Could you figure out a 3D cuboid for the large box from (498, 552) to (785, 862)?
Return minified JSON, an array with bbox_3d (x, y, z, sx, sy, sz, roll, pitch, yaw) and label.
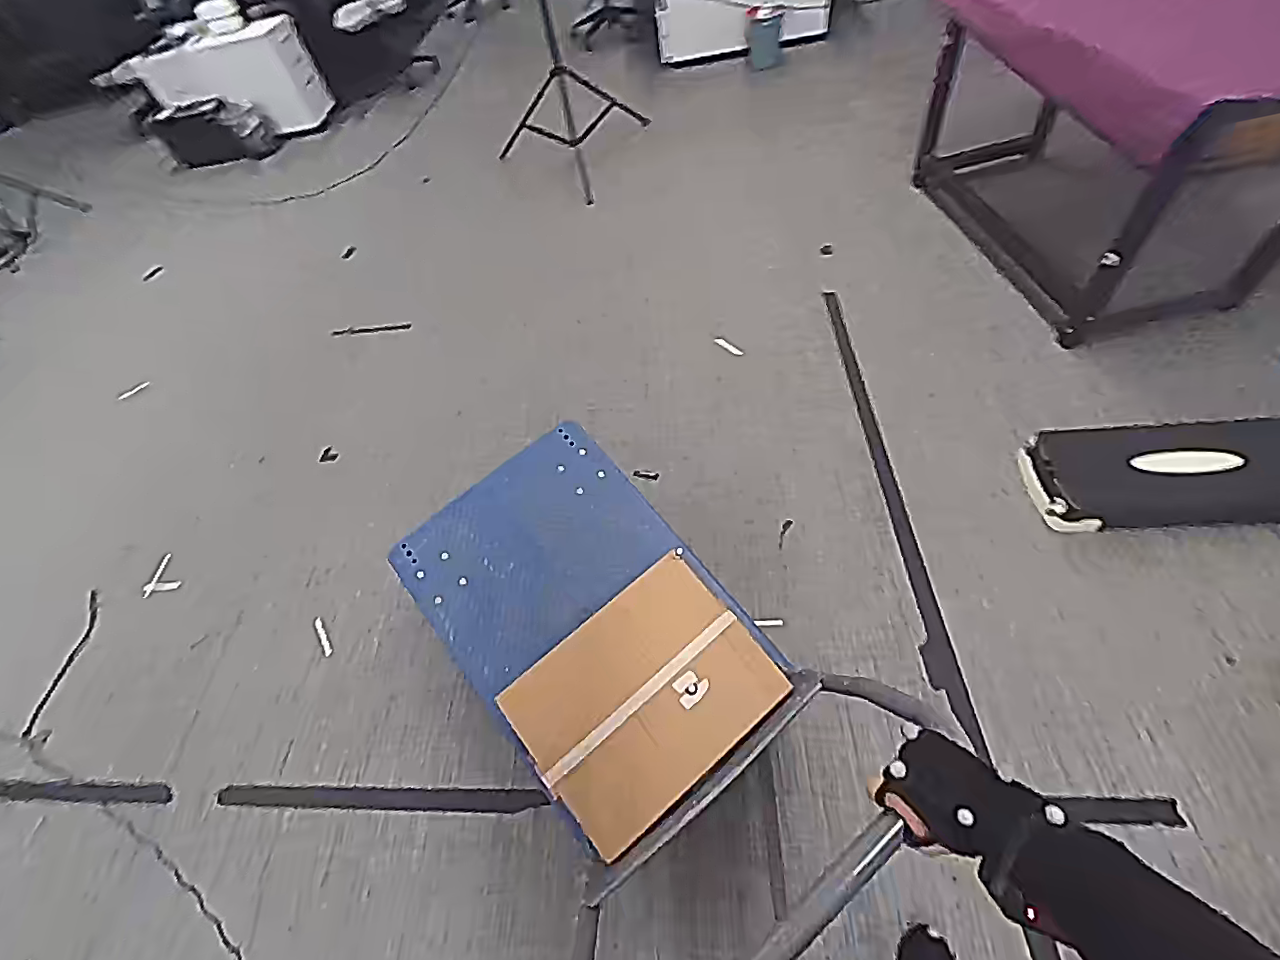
[{"bbox_3d":[0.004,0.414,1.050,0.408,0.320,0.320,-39,74,-13],"label":"large box"}]
